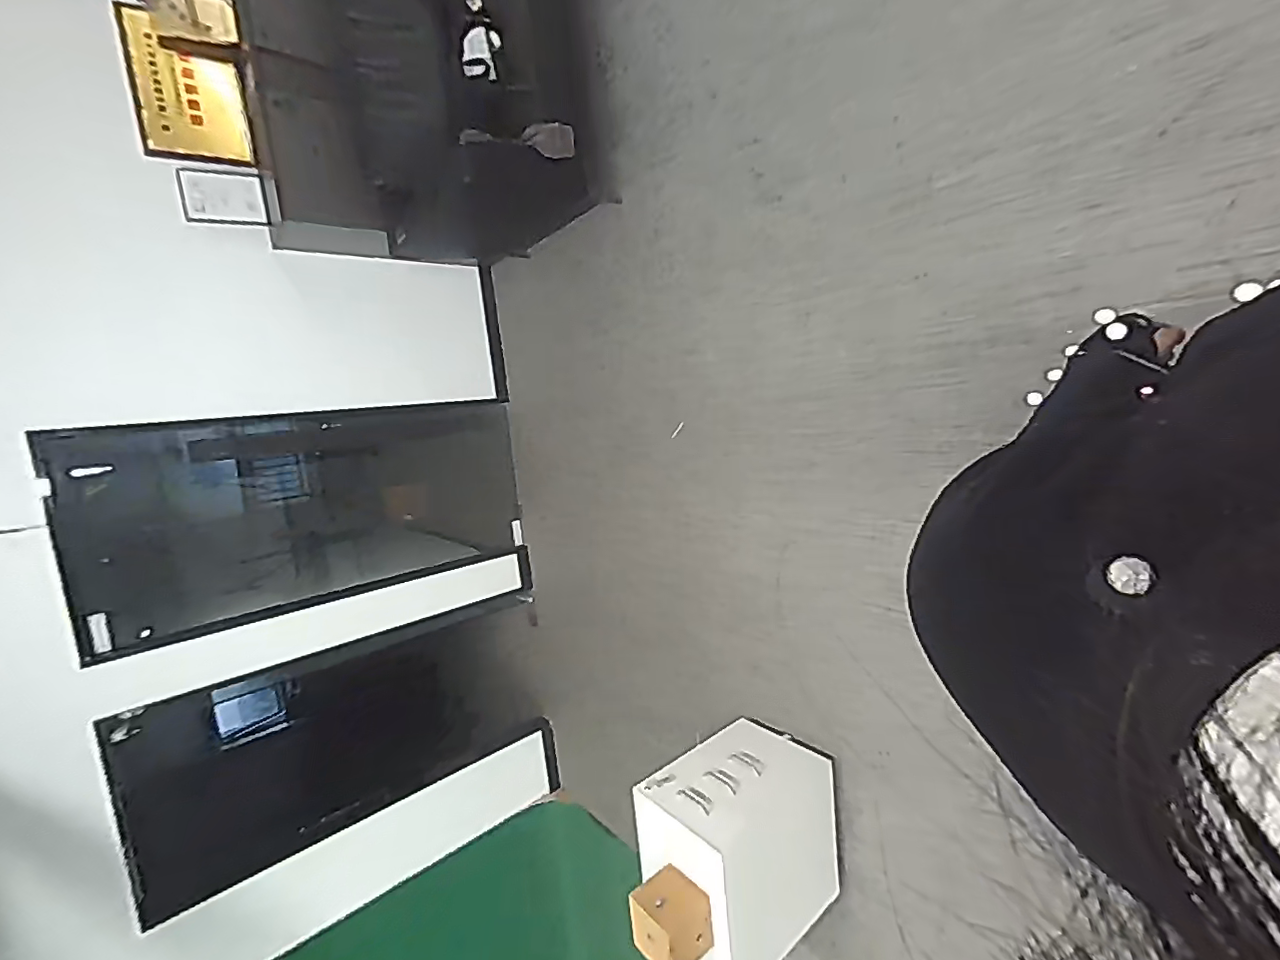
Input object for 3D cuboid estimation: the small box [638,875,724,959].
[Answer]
[{"bbox_3d":[0.118,1.291,1.558,0.179,0.176,0.168,0,99,52],"label":"small box"}]
